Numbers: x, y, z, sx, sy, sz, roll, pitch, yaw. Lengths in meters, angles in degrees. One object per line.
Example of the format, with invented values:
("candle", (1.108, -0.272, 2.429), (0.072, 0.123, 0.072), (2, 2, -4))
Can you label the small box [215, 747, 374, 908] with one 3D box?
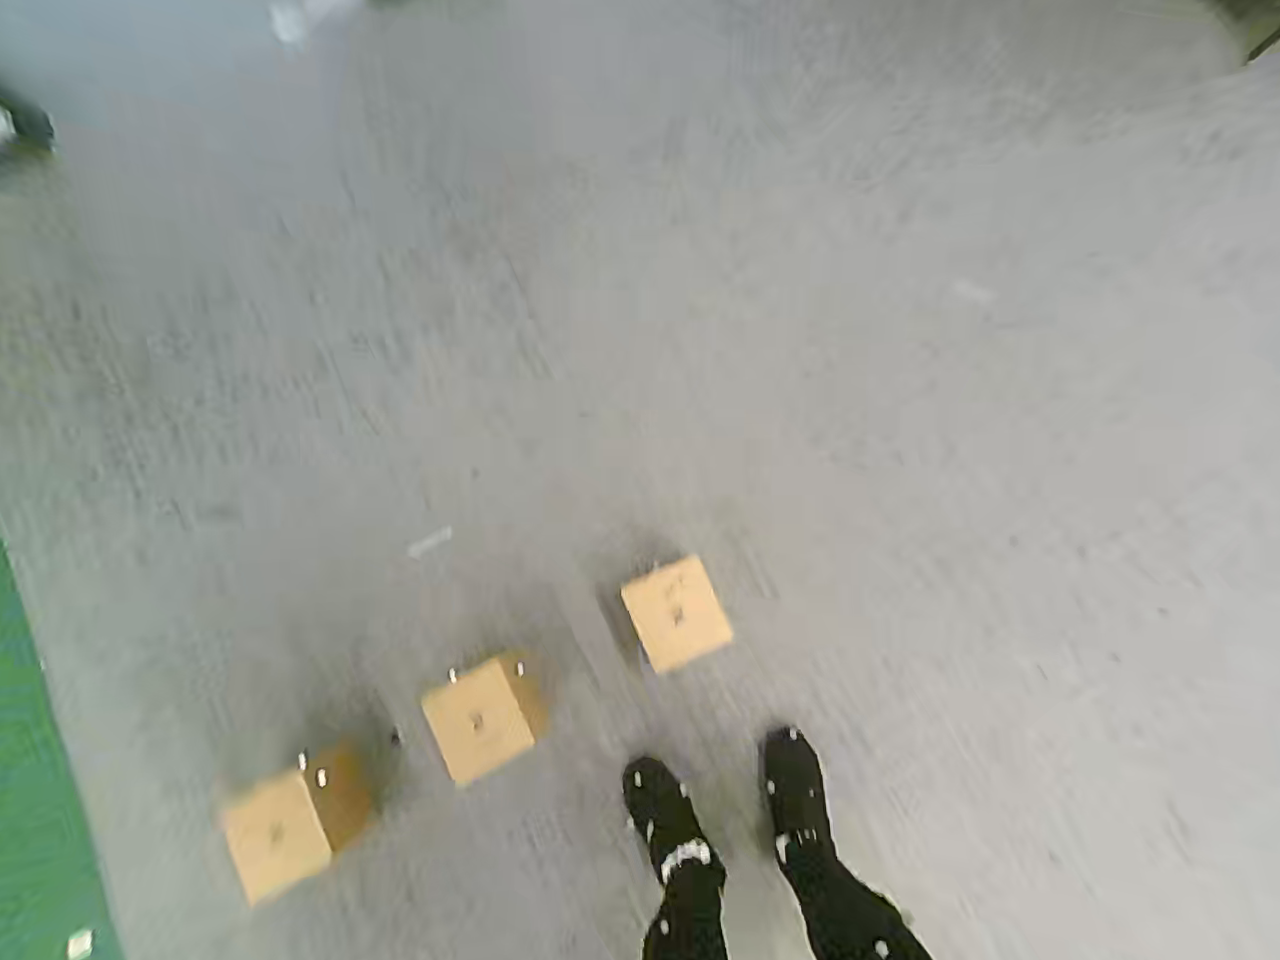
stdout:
("small box", (-0.649, 0.651, 1.037), (0.168, 0.176, 0.179), (-28, 78, -4))

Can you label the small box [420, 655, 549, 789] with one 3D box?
("small box", (-0.299, 0.462, 1.070), (0.168, 0.176, 0.179), (-28, 79, -4))

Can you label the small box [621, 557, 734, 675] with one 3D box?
("small box", (0.072, 0.270, 1.099), (0.168, 0.176, 0.179), (-23, 79, -4))
